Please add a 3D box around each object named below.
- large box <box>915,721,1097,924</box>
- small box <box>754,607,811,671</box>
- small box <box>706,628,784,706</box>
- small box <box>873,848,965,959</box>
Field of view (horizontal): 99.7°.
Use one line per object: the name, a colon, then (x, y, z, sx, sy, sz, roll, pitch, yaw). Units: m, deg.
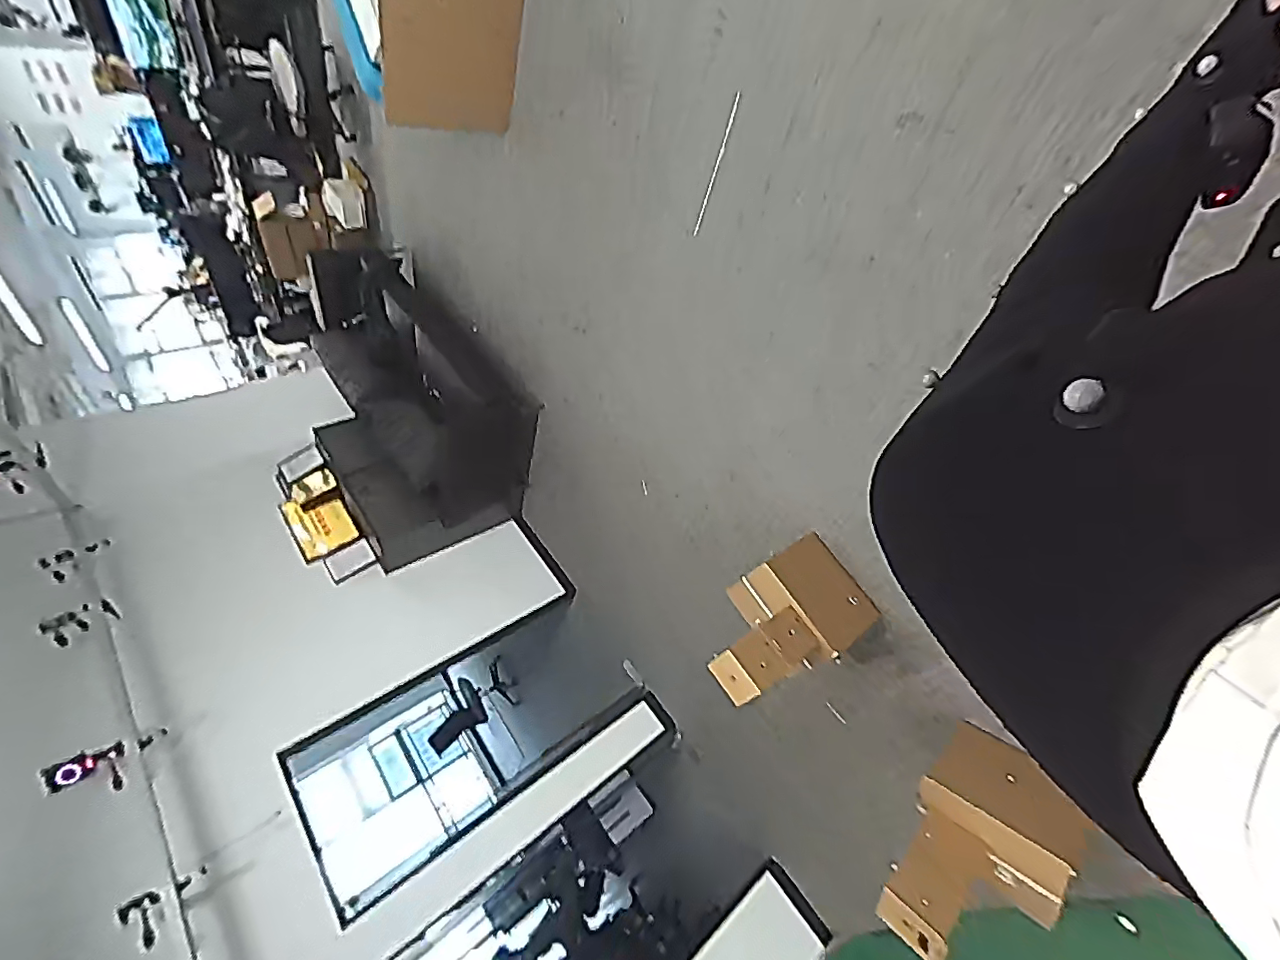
large box: (1.176, 1.085, 1.767, 0.408, 0.320, 0.320, 19, 125, 45)
small box: (0.486, 0.584, 1.943, 0.168, 0.176, 0.179, 52, 142, 19)
small box: (0.363, 0.636, 1.850, 0.168, 0.176, 0.179, 51, 143, 19)
small box: (0.829, 1.252, 1.604, 0.179, 0.176, 0.168, 28, 131, 42)
